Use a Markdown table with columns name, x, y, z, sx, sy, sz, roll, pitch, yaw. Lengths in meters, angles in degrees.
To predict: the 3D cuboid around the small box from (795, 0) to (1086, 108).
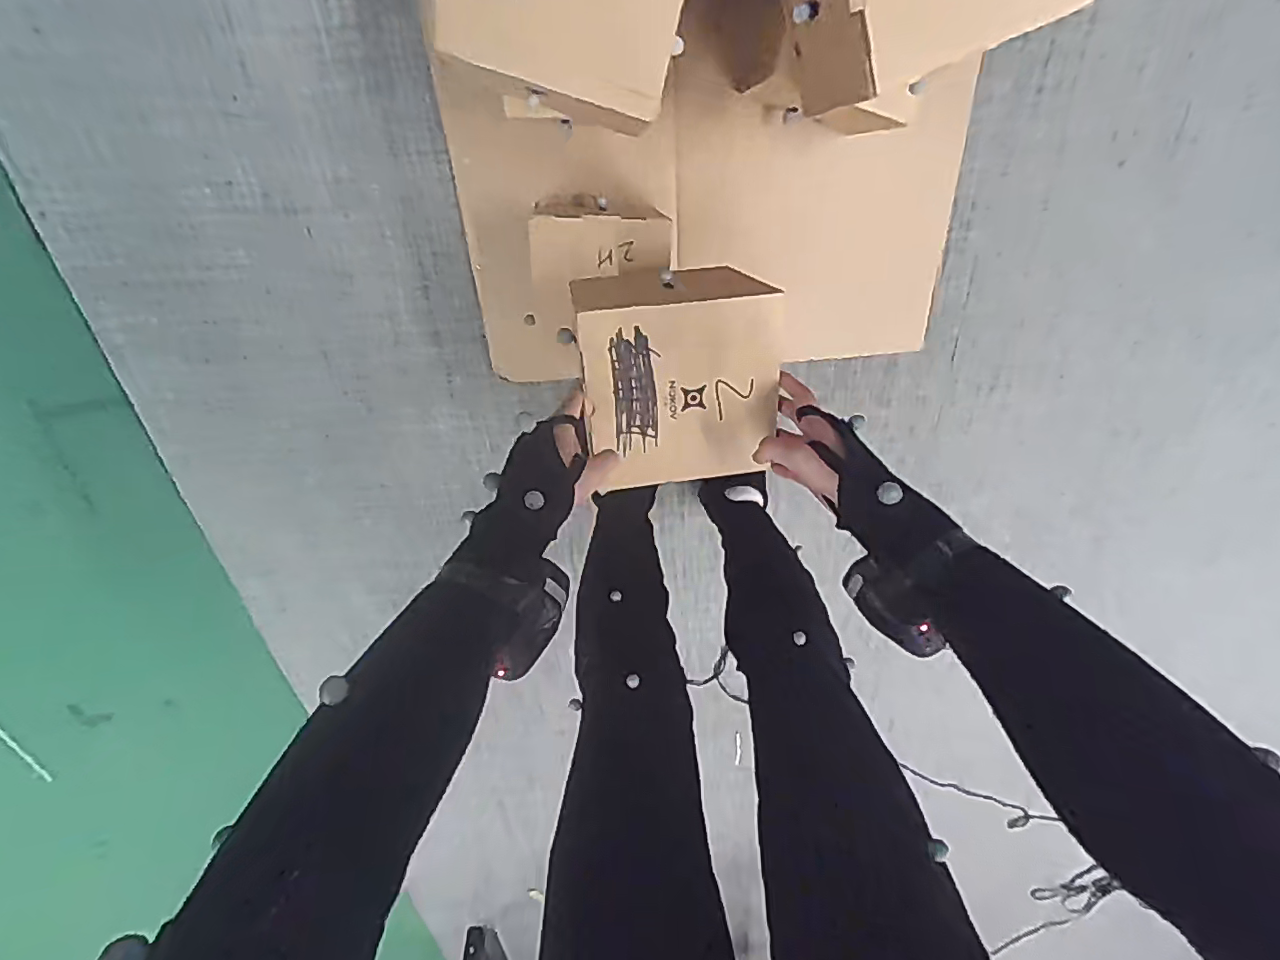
| name | x | y | z | sx | sy | sz | roll | pitch | yaw |
| --- | --- | --- | --- | --- | --- | --- | --- | --- | --- |
| small box | 0.234 | -0.444 | 0.456 | 0.179 | 0.176 | 0.168 | -19 | 118 | 8 |

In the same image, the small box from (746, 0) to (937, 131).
| name | x | y | z | sx | sy | sz | roll | pitch | yaw |
| --- | --- | --- | --- | --- | --- | --- | --- | --- | --- |
| small box | 0.234 | -0.517 | 0.602 | 0.168 | 0.176 | 0.179 | 12 | 117 | -11 |

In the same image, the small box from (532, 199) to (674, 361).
| name | x | y | z | sx | sy | sz | roll | pitch | yaw |
| --- | --- | --- | --- | --- | --- | --- | --- | --- | --- |
| small box | -0.050 | -0.270 | 0.723 | 0.168 | 0.176 | 0.179 | 0 | 119 | -5 |

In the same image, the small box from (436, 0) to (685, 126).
| name | x | y | z | sx | sy | sz | roll | pitch | yaw |
| --- | --- | --- | --- | --- | --- | --- | --- | --- | --- |
| small box | -0.053 | -0.418 | 0.452 | 0.179 | 0.176 | 0.168 | 12 | 117 | -11 |

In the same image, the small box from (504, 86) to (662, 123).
| name | x | y | z | sx | sy | sz | roll | pitch | yaw |
| --- | --- | --- | --- | --- | --- | --- | --- | --- | --- |
| small box | -0.063 | -0.501 | 0.594 | 0.168 | 0.176 | 0.179 | -3 | 119 | -3 |
